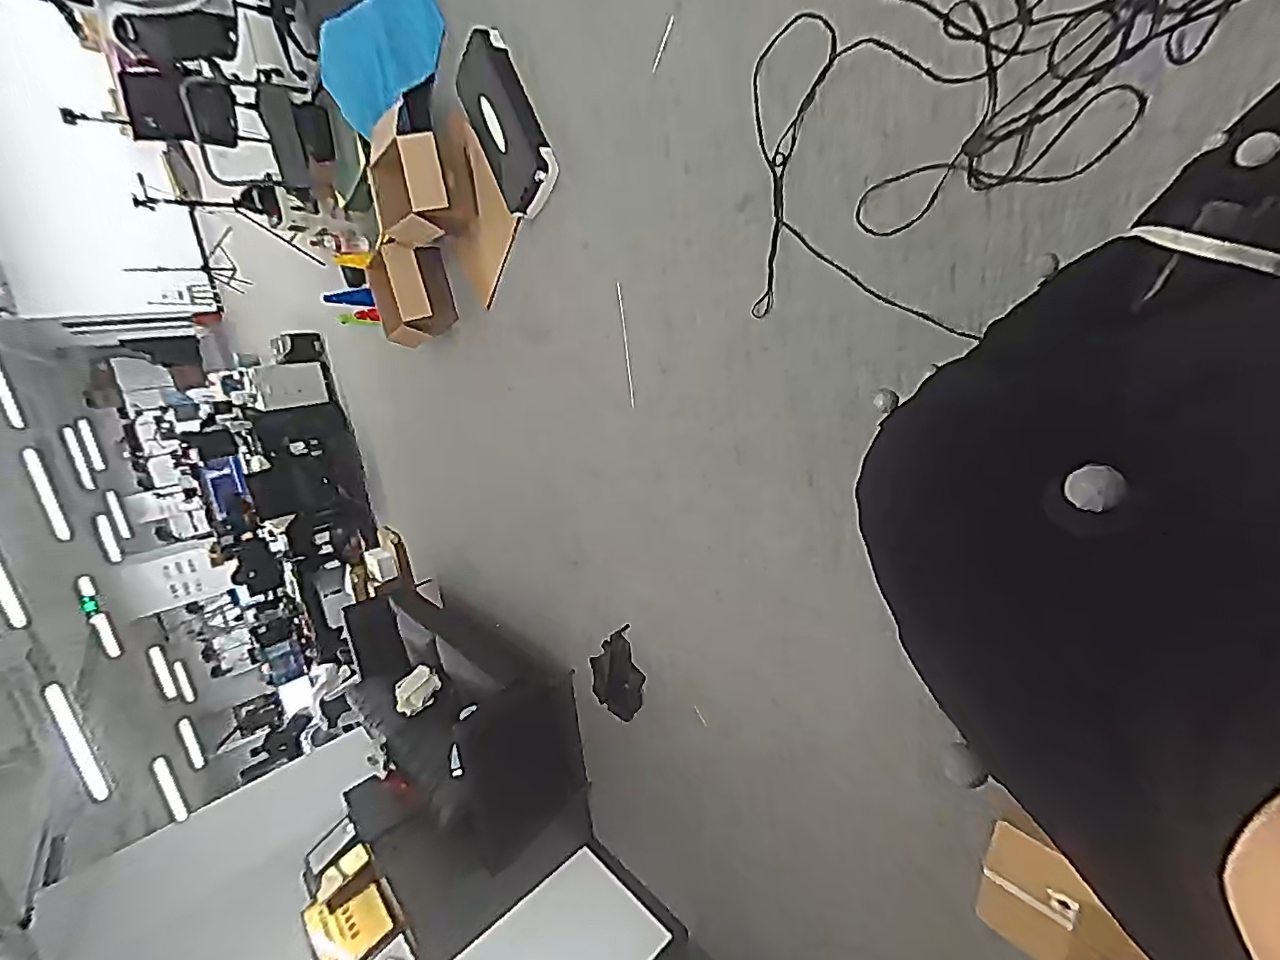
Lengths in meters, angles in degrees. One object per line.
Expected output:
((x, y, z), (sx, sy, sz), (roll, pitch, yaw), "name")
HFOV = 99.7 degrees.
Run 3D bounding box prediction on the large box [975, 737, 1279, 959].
((1.005, 0.843, 1.141), (0.408, 0.320, 0.320), (19, 118, 45), "large box")
